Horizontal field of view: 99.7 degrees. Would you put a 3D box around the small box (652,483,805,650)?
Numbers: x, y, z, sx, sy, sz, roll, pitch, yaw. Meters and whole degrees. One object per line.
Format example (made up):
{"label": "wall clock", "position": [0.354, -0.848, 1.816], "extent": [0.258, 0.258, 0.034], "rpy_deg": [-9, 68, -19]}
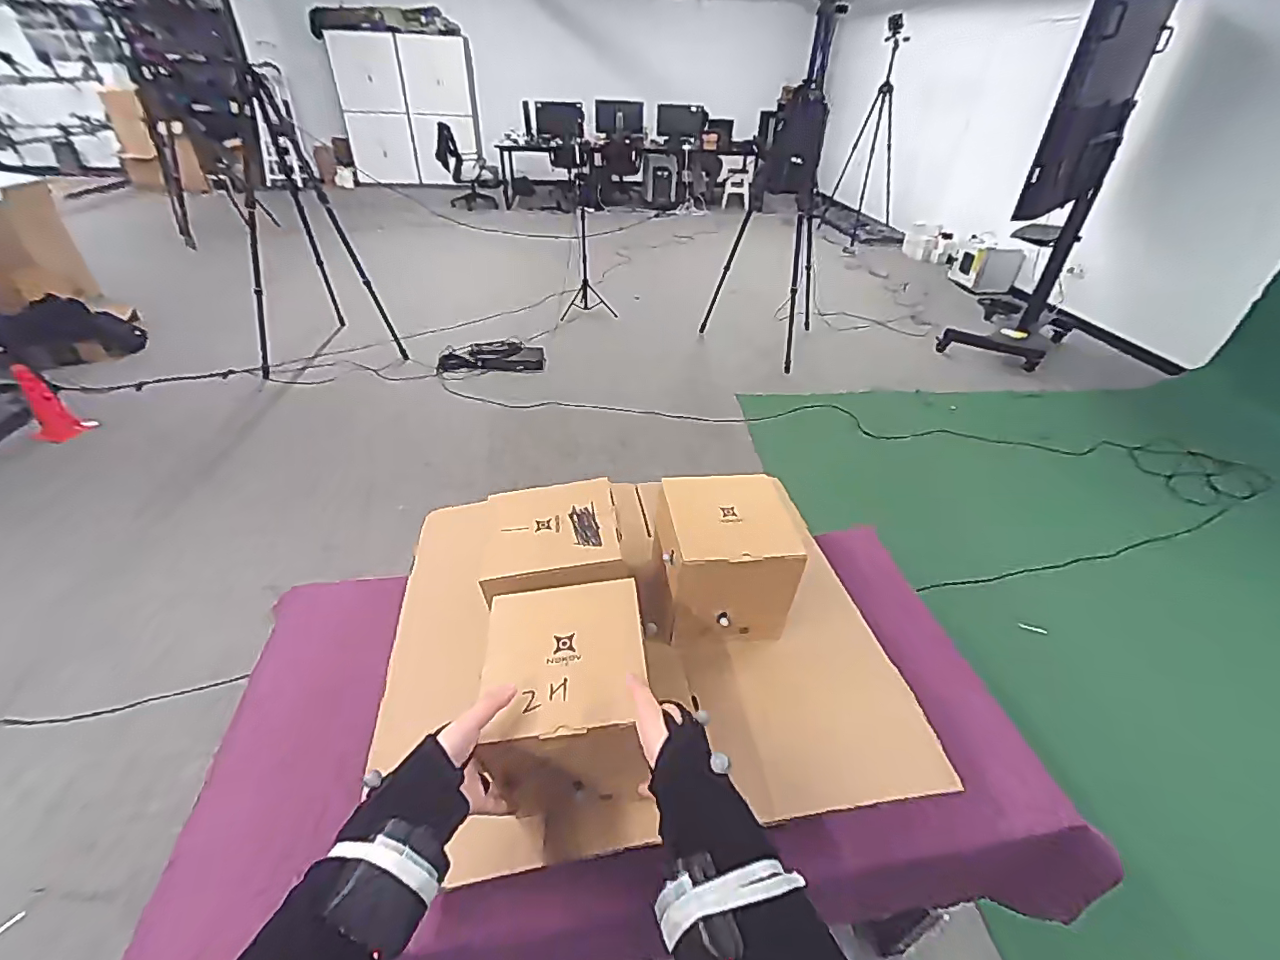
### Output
{"label": "small box", "position": [0.114, 0.122, 0.790], "extent": [0.168, 0.176, 0.179], "rpy_deg": [-2, 38, -8]}
